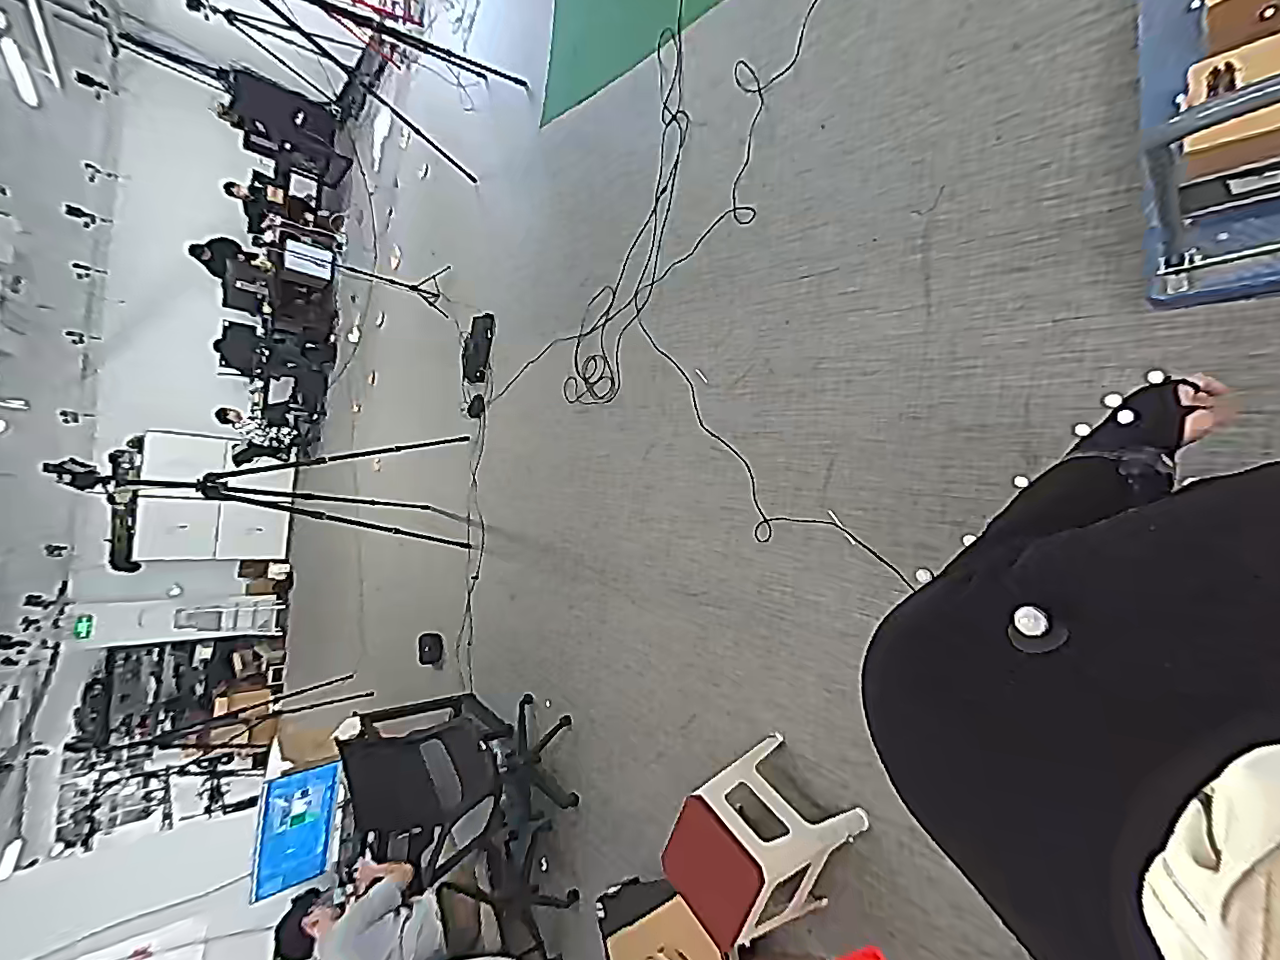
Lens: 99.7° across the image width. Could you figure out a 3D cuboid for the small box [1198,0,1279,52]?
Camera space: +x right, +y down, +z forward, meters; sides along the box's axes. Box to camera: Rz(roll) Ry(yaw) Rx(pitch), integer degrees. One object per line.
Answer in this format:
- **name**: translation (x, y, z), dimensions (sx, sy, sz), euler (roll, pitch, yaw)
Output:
- **small box**: translation (1.137, -0.936, 0.985), dimensions (0.168, 0.176, 0.179), euler (-6, 82, 46)
